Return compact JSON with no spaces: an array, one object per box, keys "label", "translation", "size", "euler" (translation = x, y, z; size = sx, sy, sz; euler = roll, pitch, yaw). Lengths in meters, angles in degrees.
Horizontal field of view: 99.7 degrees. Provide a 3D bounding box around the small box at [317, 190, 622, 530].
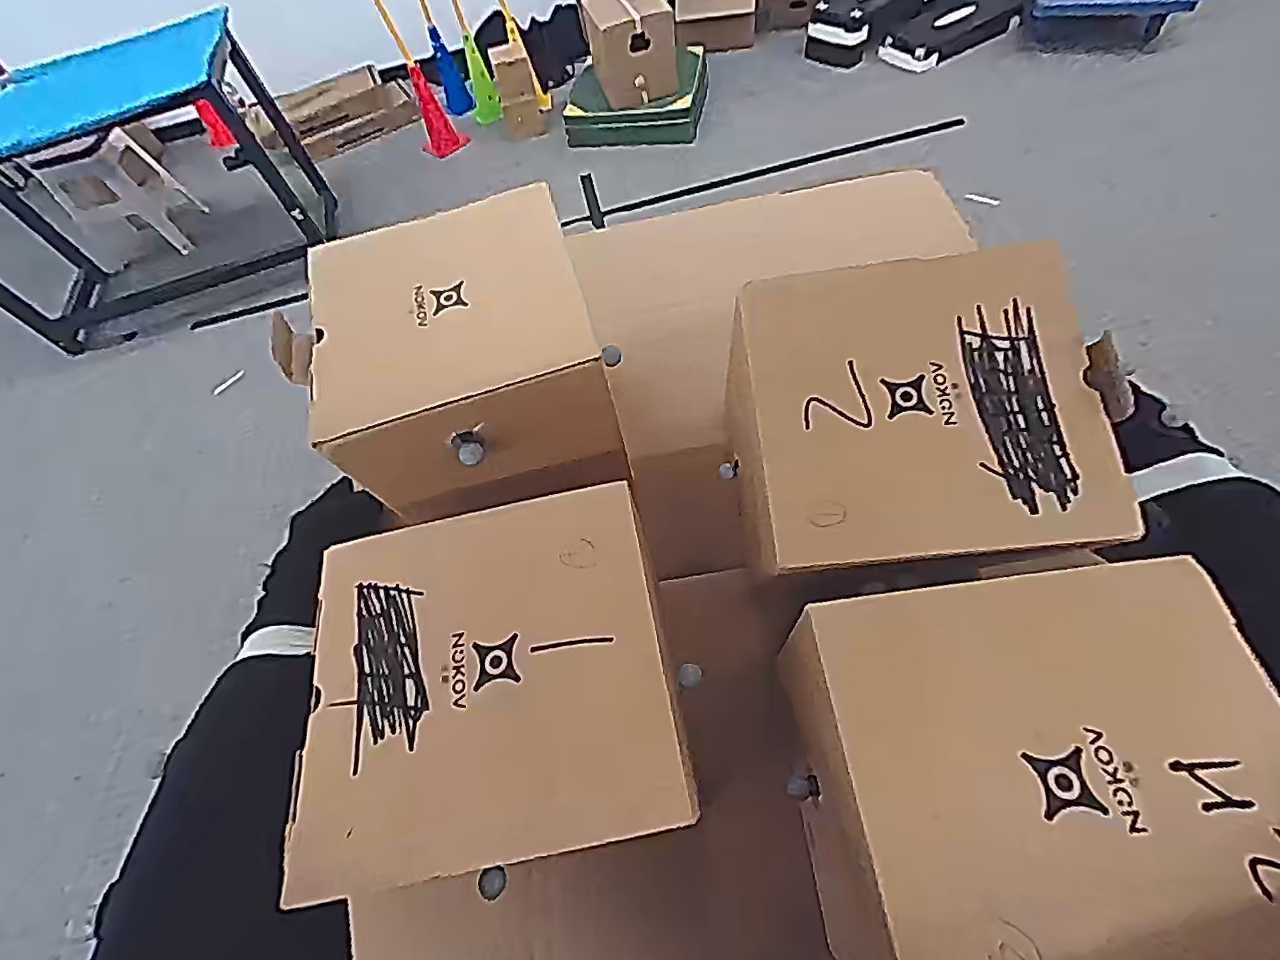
[{"label":"small box","translation":[-0.118,-0.081,0.426],"size":[0.179,0.176,0.168],"euler":[-18,63,0]}]
